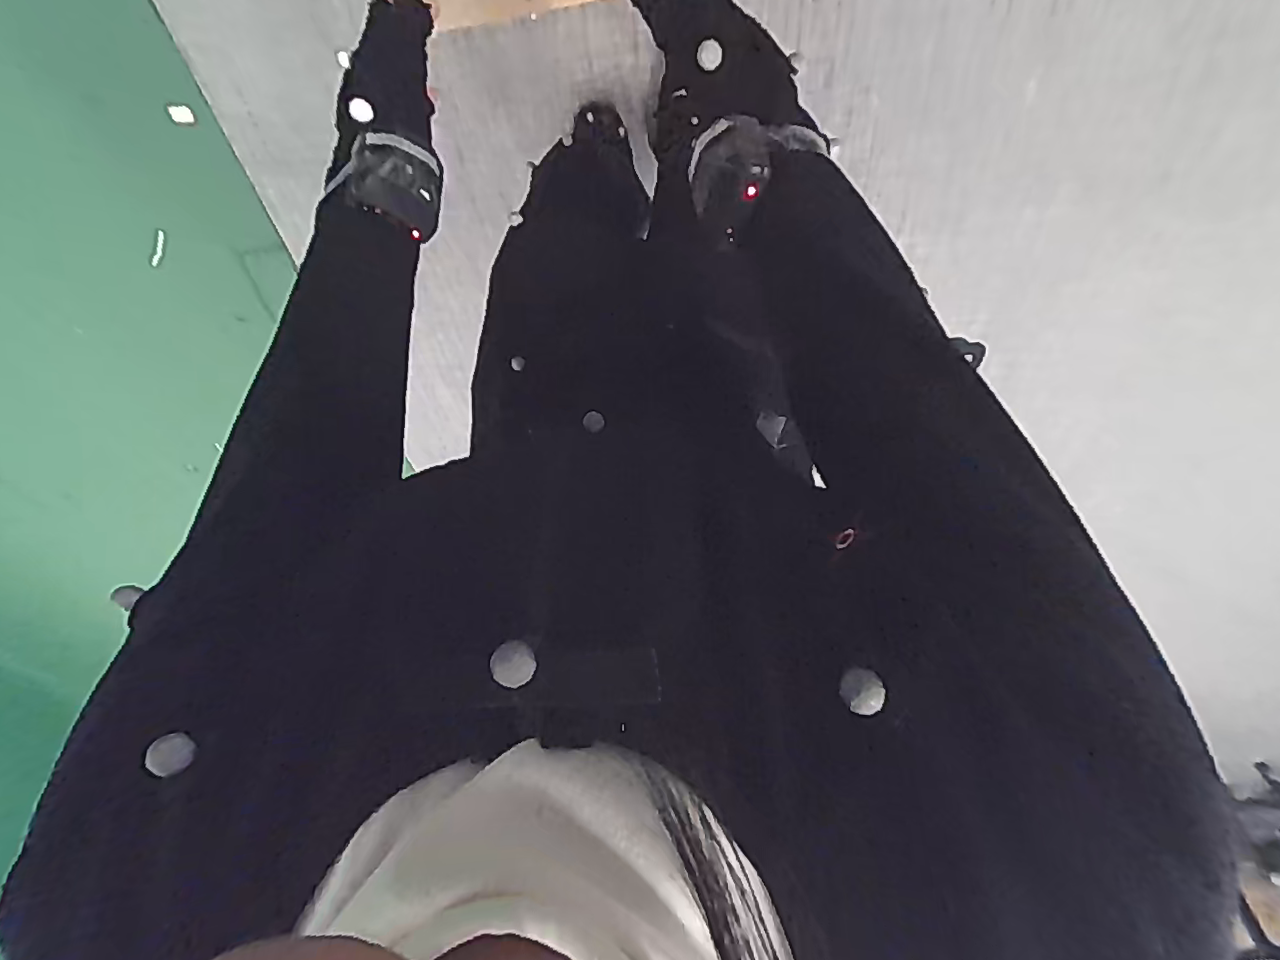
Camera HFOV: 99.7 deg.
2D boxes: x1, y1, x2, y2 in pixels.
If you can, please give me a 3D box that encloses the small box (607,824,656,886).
[{"bbox_3d":[-0.030,1.479,2.133,0.168,0.176,0.179,-2,135,10],"label":"small box"}]
